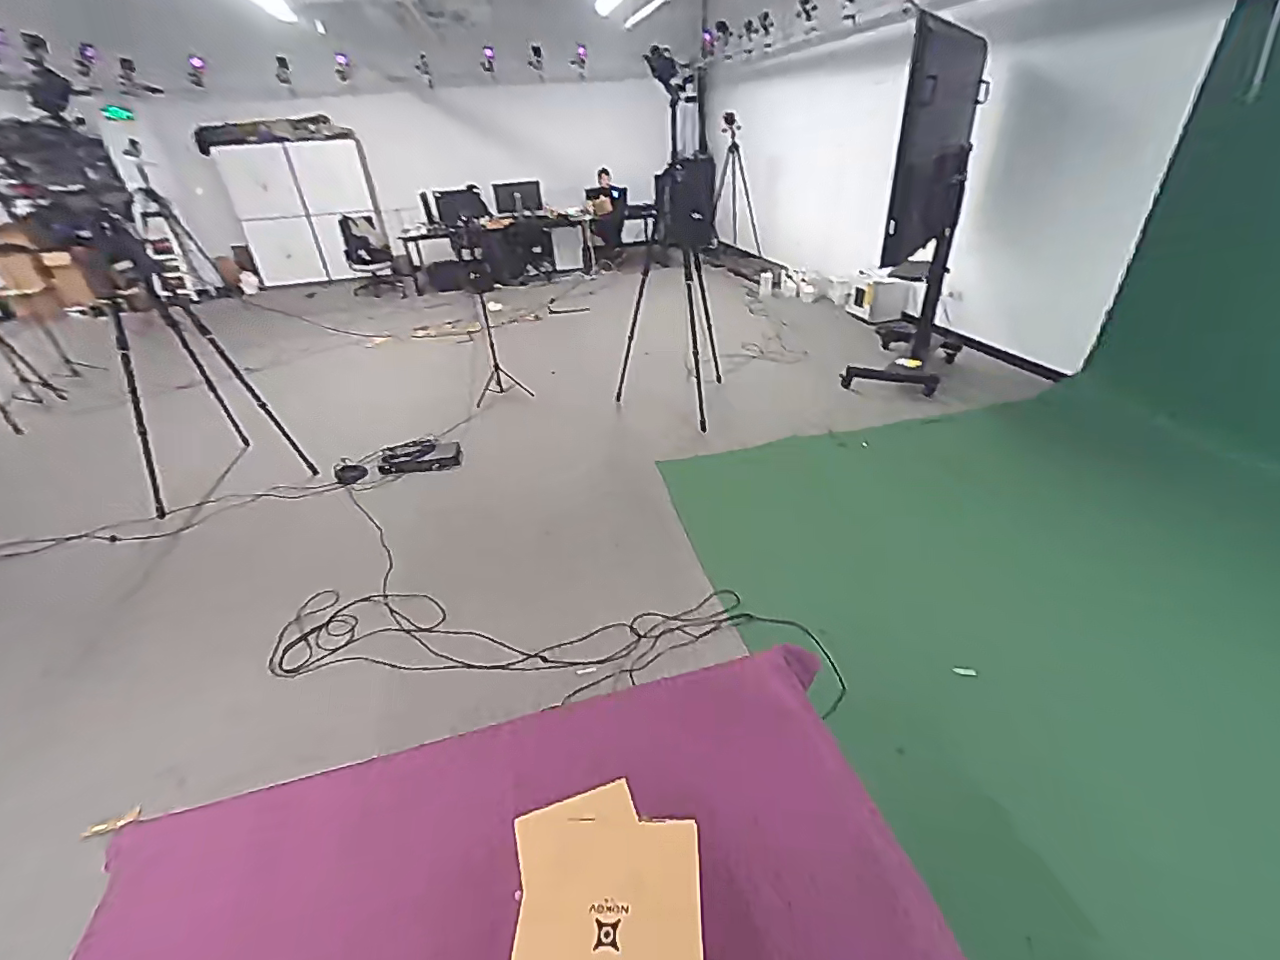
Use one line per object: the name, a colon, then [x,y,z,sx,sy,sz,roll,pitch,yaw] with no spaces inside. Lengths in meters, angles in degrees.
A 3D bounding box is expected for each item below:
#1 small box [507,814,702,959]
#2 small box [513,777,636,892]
small box: [-0.025,0.453,0.515,0.168,0.176,0.179,-1,33,4]
small box: [-0.070,0.558,0.741,0.168,0.176,0.179,-13,34,-14]
